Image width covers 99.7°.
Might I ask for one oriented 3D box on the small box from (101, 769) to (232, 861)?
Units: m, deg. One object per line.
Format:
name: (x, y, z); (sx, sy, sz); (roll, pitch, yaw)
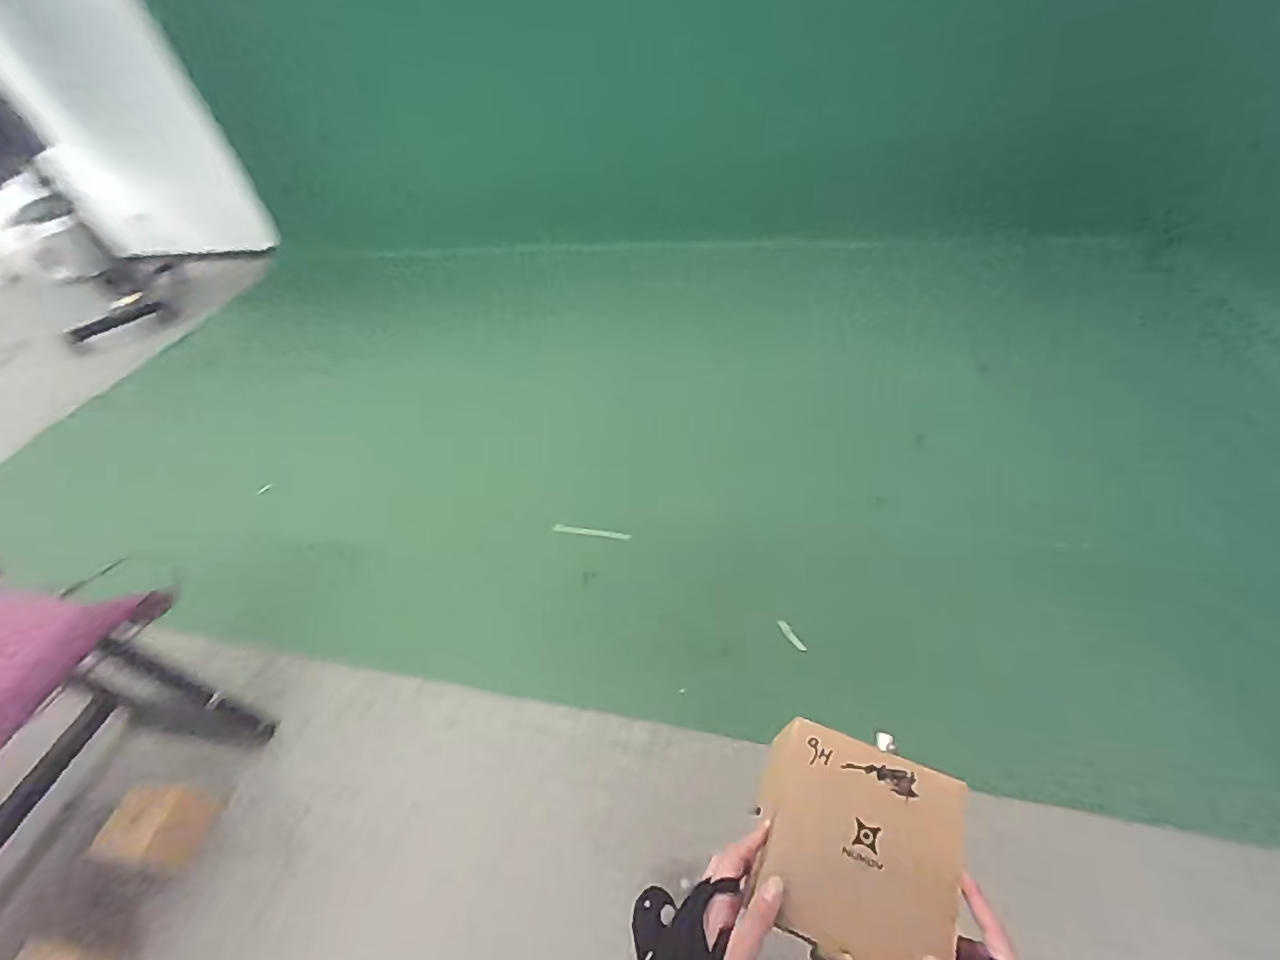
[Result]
small box: (-1.289, 0.926, 1.489); (0.168, 0.176, 0.179); (2, 48, 12)
